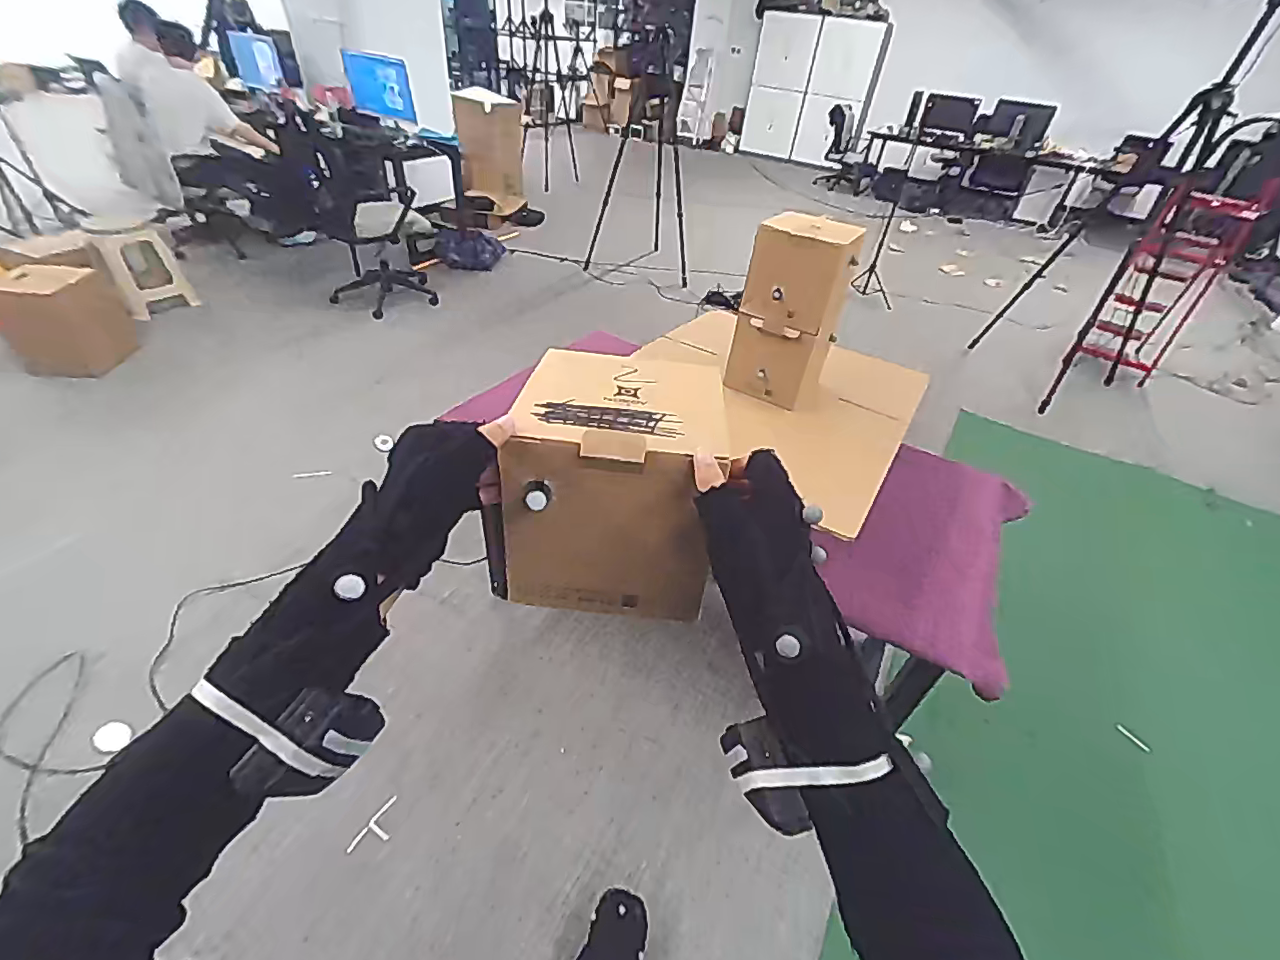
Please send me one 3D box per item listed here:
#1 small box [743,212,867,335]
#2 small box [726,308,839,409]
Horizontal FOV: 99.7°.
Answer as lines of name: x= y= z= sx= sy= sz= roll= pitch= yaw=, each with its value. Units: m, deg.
small box: x=0.320 y=-0.408 z=1.064 sx=0.168 sy=0.176 sz=0.179 roll=25 pitch=41 yaw=20
small box: x=0.301 y=-0.280 z=1.164 sx=0.168 sy=0.176 sz=0.179 roll=26 pitch=41 yaw=22
